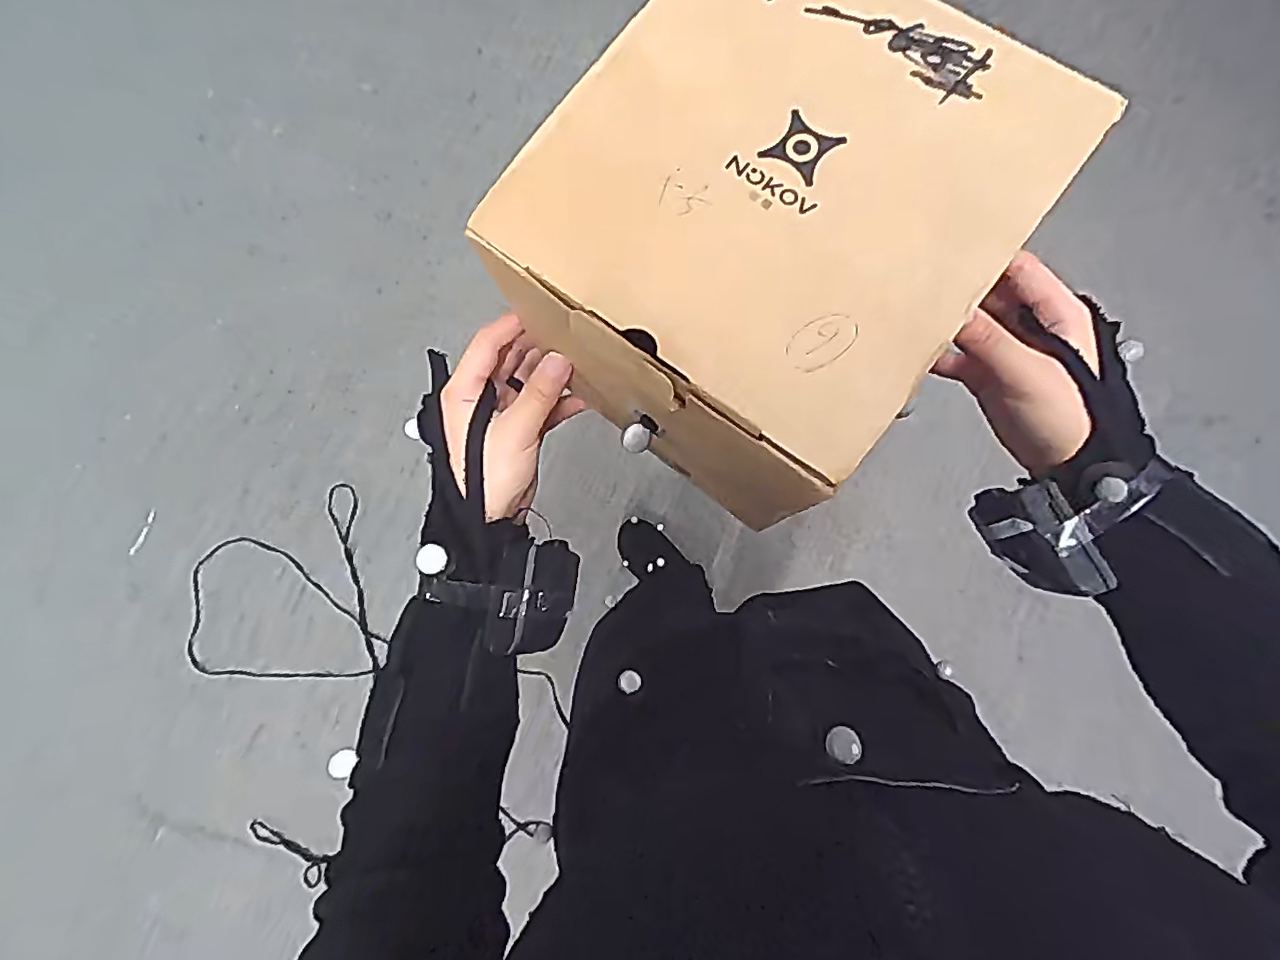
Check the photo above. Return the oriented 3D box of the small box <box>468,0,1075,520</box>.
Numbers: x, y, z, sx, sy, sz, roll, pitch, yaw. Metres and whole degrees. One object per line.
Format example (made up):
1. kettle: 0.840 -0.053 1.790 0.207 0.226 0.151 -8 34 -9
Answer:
1. small box: 0.053 -0.094 0.284 0.168 0.176 0.179 37 86 9
